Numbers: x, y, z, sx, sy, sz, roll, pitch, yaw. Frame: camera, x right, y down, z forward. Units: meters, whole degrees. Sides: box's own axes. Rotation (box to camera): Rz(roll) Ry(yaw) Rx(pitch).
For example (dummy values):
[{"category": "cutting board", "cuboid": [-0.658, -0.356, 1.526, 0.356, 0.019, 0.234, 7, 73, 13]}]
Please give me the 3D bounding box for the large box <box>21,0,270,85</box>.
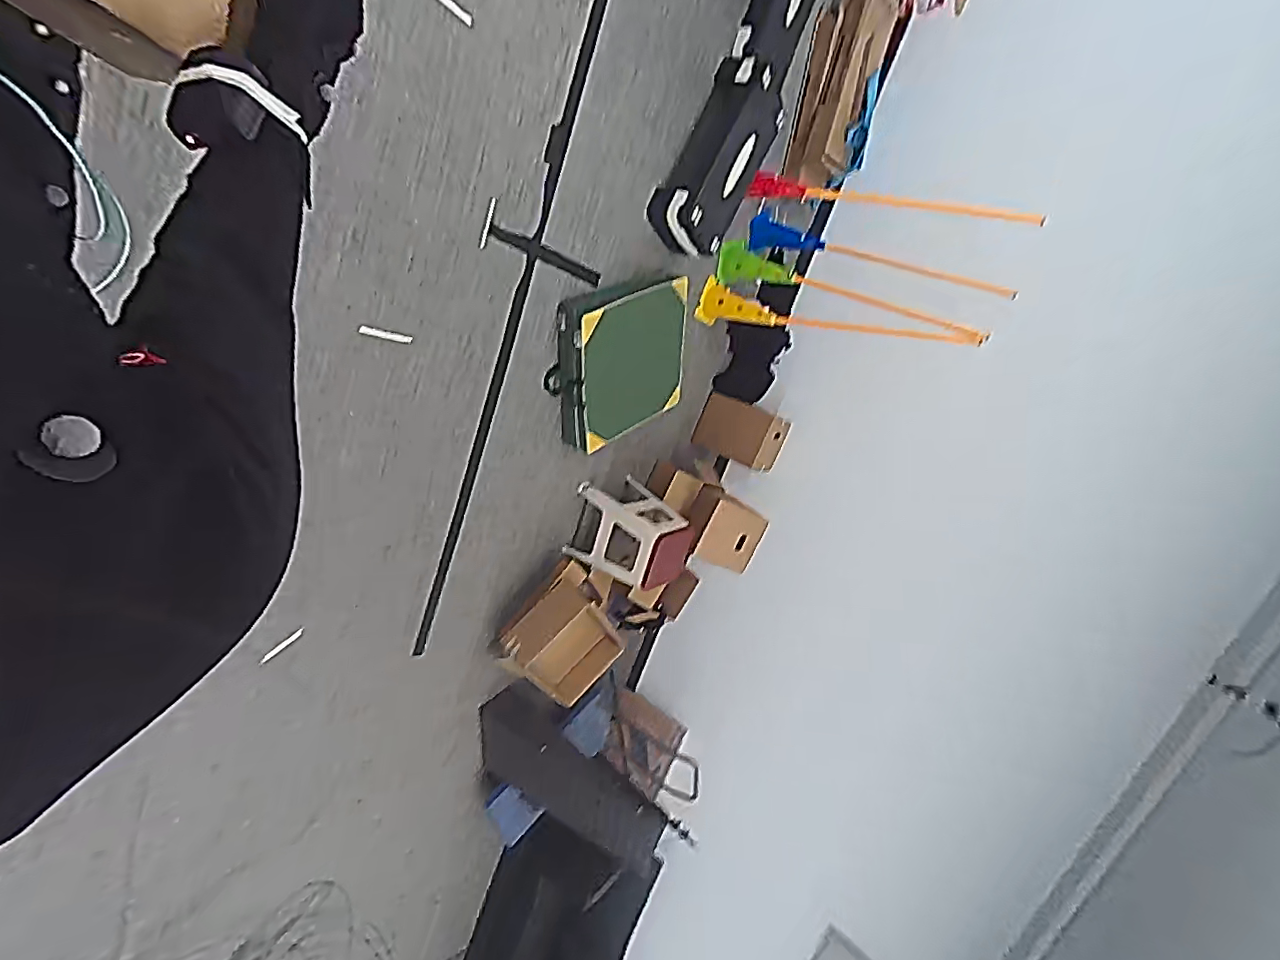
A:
[{"category": "large box", "cuboid": [-0.487, -0.559, 0.347, 0.408, 0.320, 0.320, 17, 102, -60]}]
